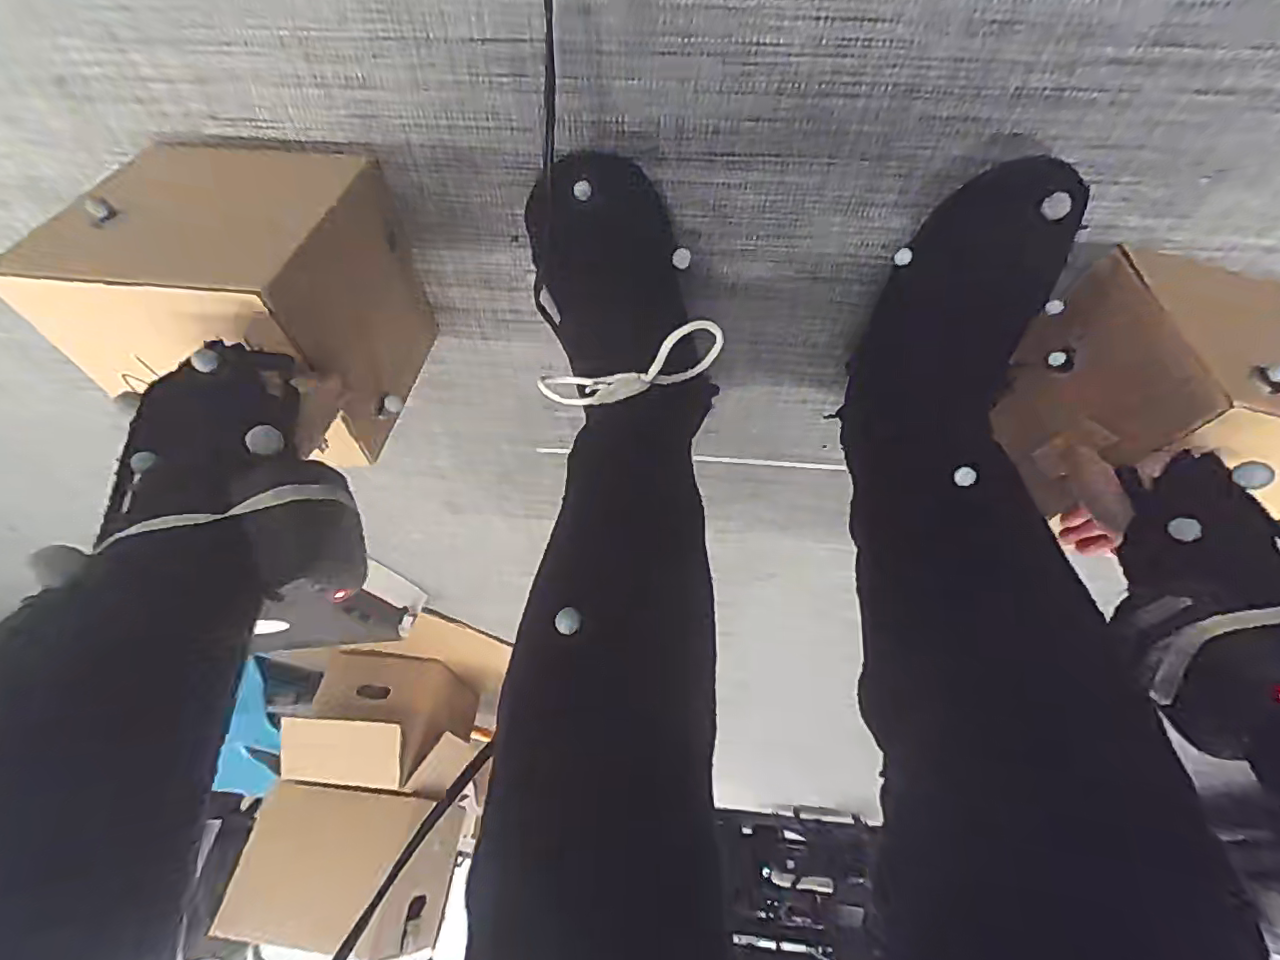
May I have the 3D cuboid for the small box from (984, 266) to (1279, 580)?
[{"bbox_3d":[0.423,-0.042,0.431,0.179,0.176,0.168,12,145,-4],"label":"small box"}]
